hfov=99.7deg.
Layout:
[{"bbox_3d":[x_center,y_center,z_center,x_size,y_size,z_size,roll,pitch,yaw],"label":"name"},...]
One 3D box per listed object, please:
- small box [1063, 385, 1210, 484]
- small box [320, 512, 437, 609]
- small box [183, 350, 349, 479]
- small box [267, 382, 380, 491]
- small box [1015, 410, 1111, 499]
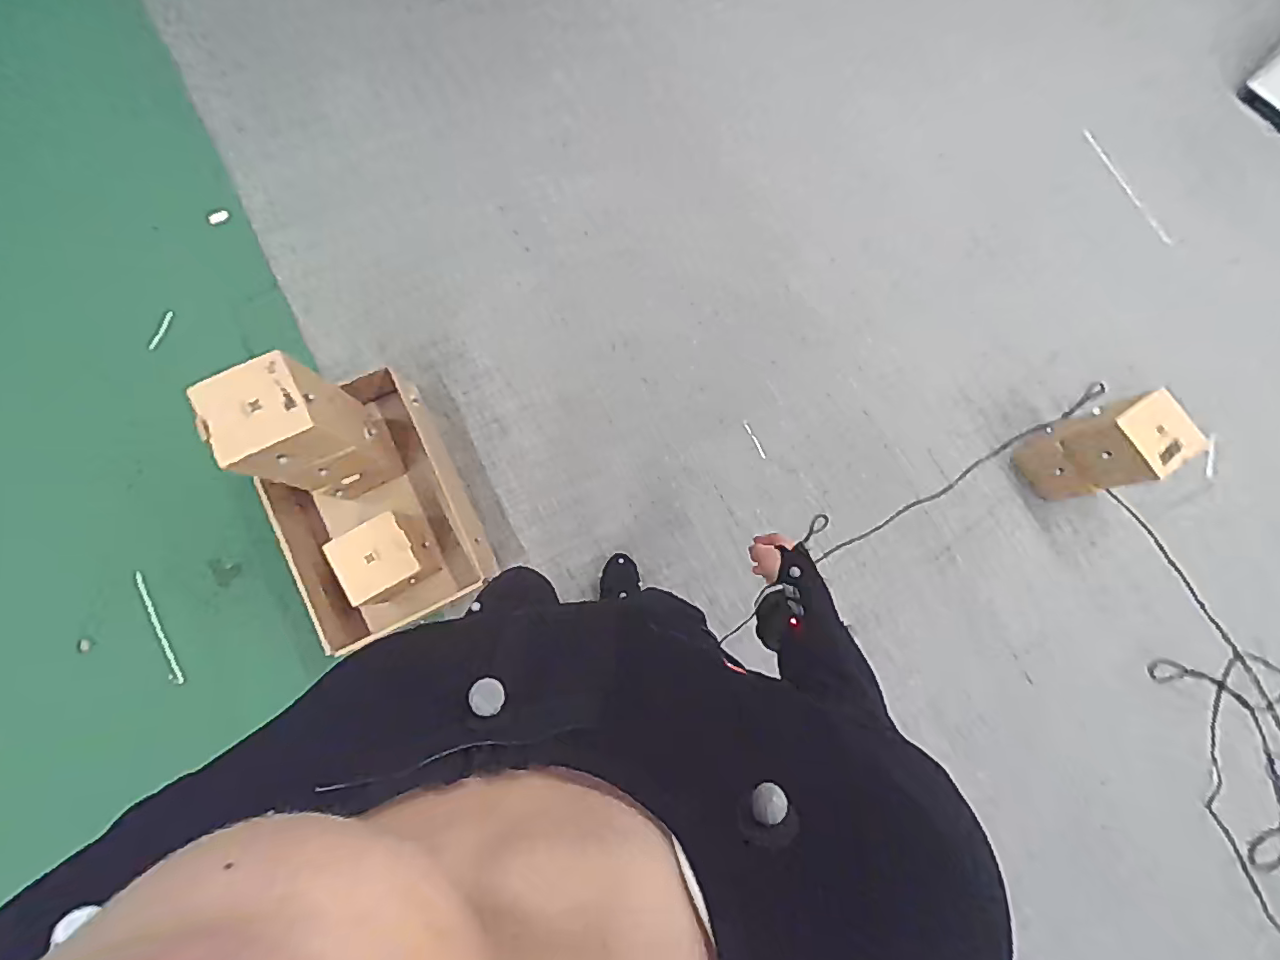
[{"bbox_3d":[1.233,-0.103,1.356,0.168,0.176,0.179,-32,83,-8],"label":"small box"},{"bbox_3d":[-0.631,0.201,1.325,0.179,0.176,0.168,-30,82,-9],"label":"small box"},{"bbox_3d":[-0.708,-0.116,1.043,0.179,0.176,0.168,-27,84,-7],"label":"small box"},{"bbox_3d":[-0.720,-0.088,1.205,0.179,0.176,0.168,-24,84,-9],"label":"small box"},{"bbox_3d":[1.212,-0.063,1.515,0.168,0.176,0.179,-36,84,-7],"label":"small box"}]
